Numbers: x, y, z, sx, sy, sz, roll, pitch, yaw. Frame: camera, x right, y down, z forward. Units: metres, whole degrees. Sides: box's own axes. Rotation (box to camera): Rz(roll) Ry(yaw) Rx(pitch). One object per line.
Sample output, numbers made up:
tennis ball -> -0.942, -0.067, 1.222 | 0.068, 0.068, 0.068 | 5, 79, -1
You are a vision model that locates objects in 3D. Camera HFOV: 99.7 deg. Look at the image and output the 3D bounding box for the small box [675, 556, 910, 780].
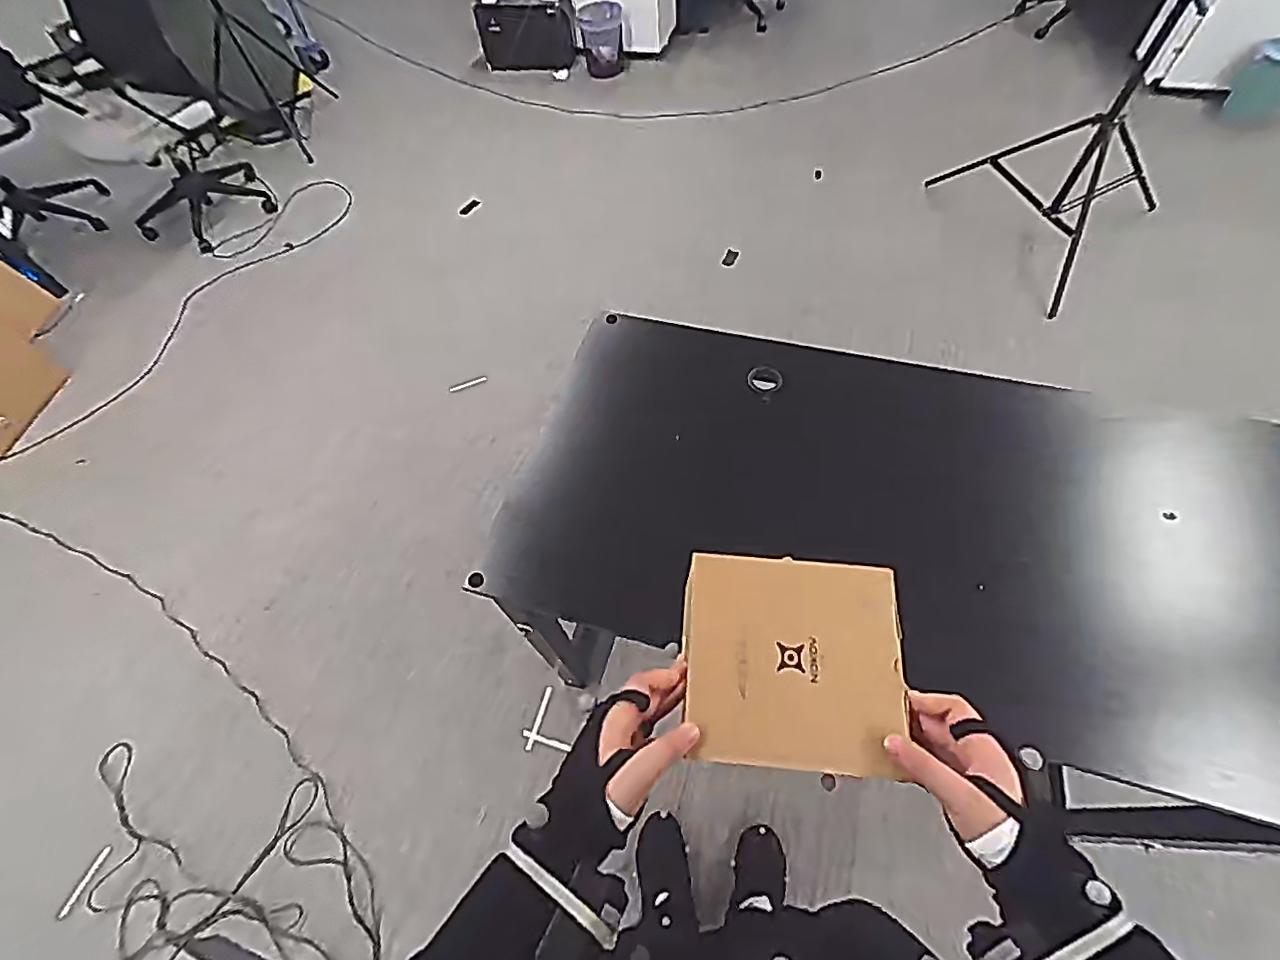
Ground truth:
small box -> 0.127, 0.181, 0.517 | 0.179, 0.176, 0.168 | 3, 64, 4
